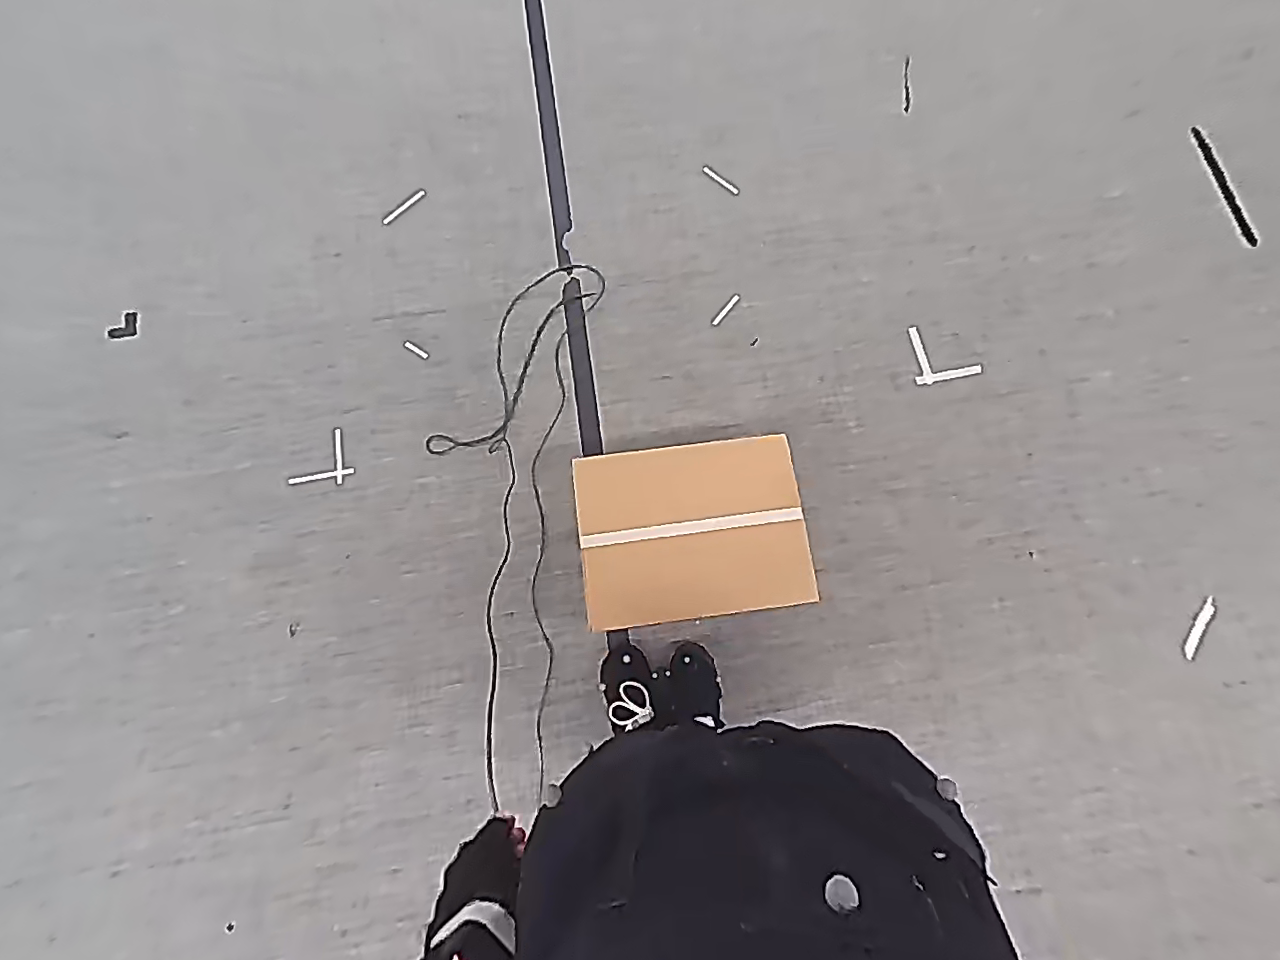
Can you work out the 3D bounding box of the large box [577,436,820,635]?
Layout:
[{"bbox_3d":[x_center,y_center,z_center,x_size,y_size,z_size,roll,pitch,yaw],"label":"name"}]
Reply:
[{"bbox_3d":[0.099,0.127,1.117,0.408,0.320,0.320,-8,78,-2],"label":"large box"}]
